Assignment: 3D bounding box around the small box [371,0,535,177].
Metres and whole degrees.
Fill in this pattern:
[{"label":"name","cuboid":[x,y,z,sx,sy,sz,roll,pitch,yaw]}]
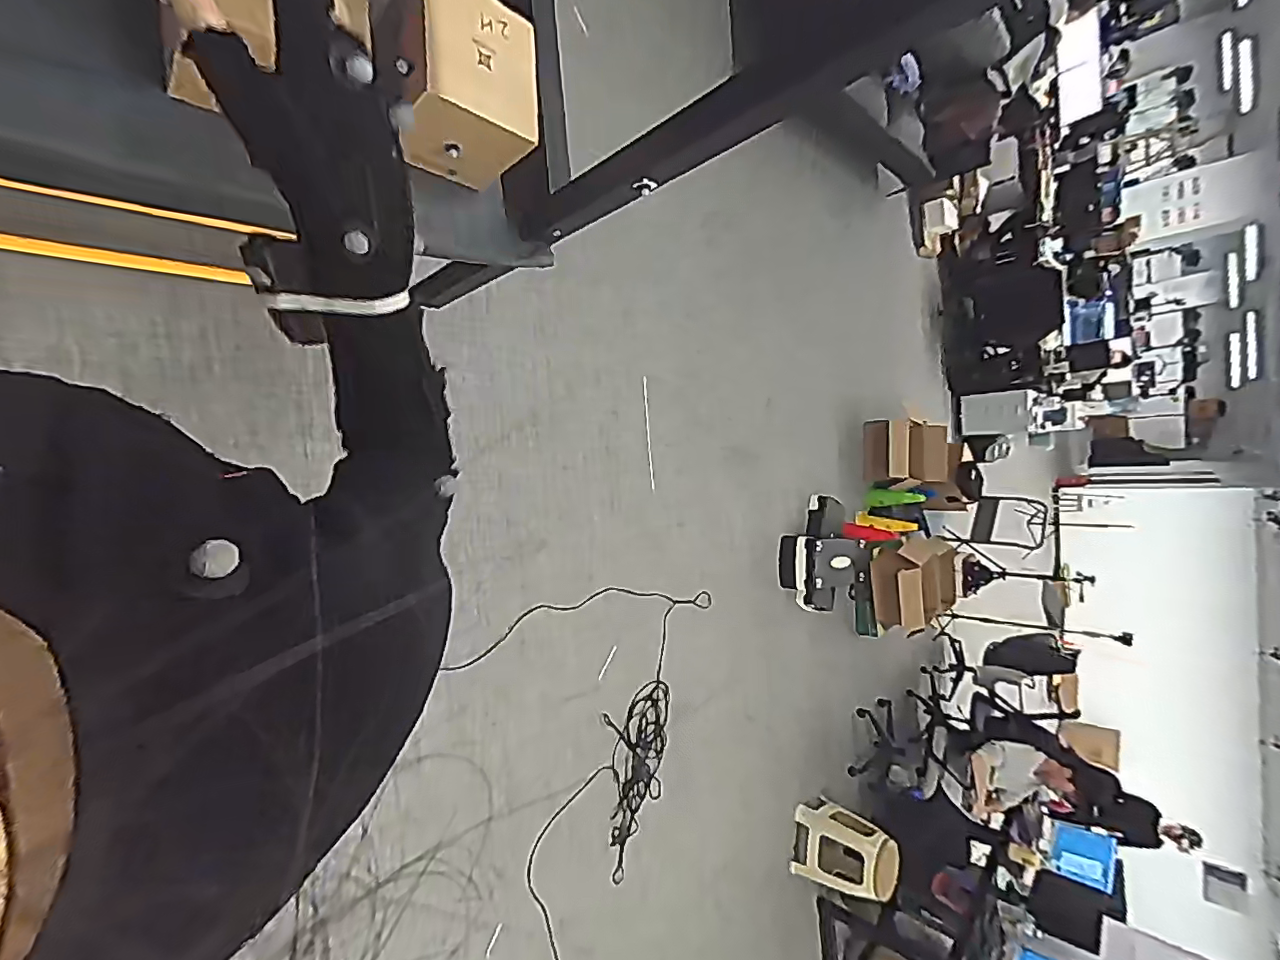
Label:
[{"label":"small box","cuboid":[-0.266,-0.570,0.769,0.168,0.176,0.179,-2,91,-46]}]
